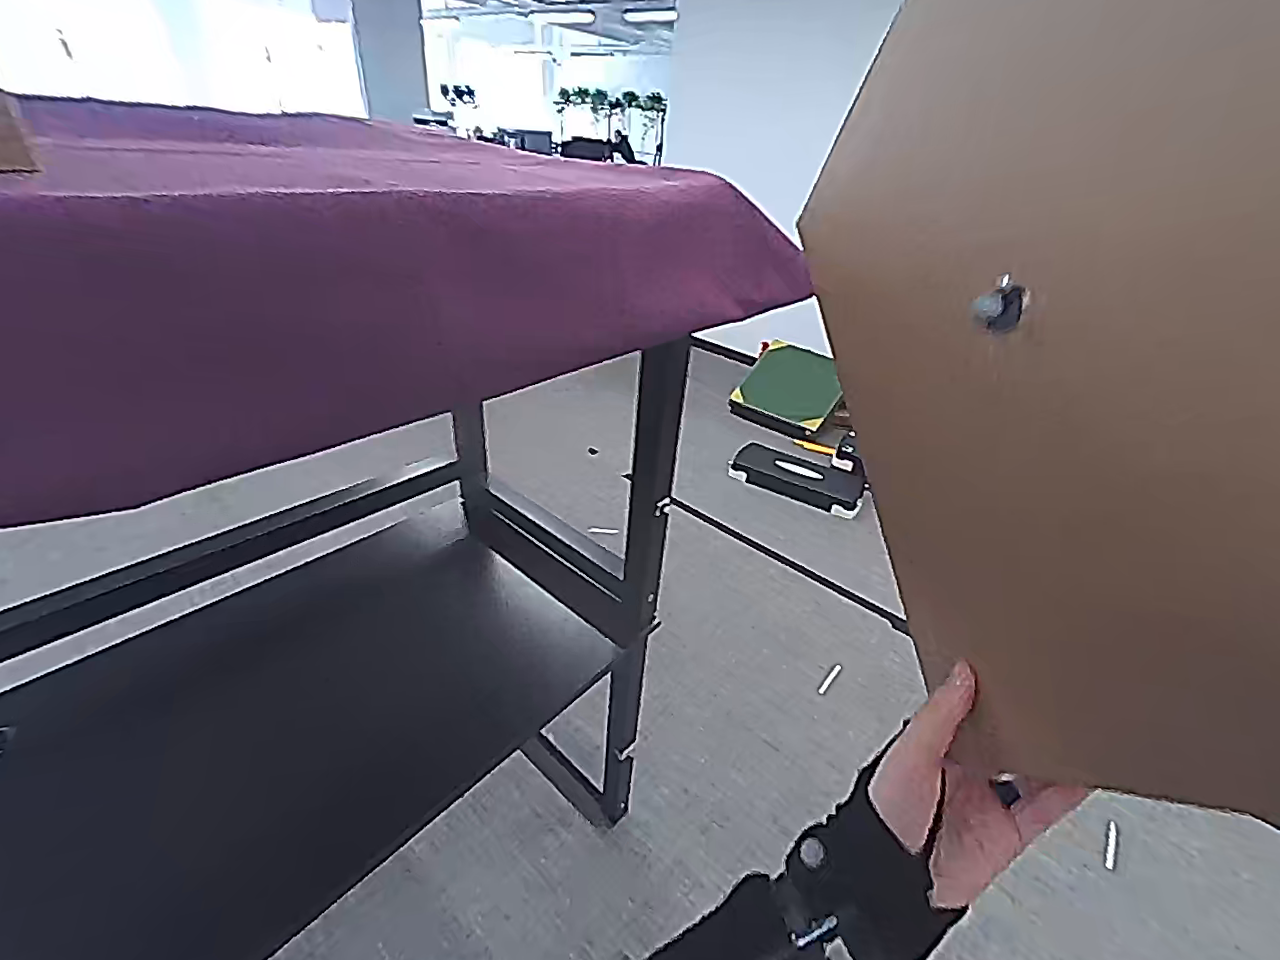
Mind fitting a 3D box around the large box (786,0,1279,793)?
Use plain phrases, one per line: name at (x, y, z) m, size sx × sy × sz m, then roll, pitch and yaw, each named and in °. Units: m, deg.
large box at (0.308, -0.102, 0.260) m, size 0.320 × 0.320 × 0.408 m, roll -4°, pitch 69°, yaw -10°
